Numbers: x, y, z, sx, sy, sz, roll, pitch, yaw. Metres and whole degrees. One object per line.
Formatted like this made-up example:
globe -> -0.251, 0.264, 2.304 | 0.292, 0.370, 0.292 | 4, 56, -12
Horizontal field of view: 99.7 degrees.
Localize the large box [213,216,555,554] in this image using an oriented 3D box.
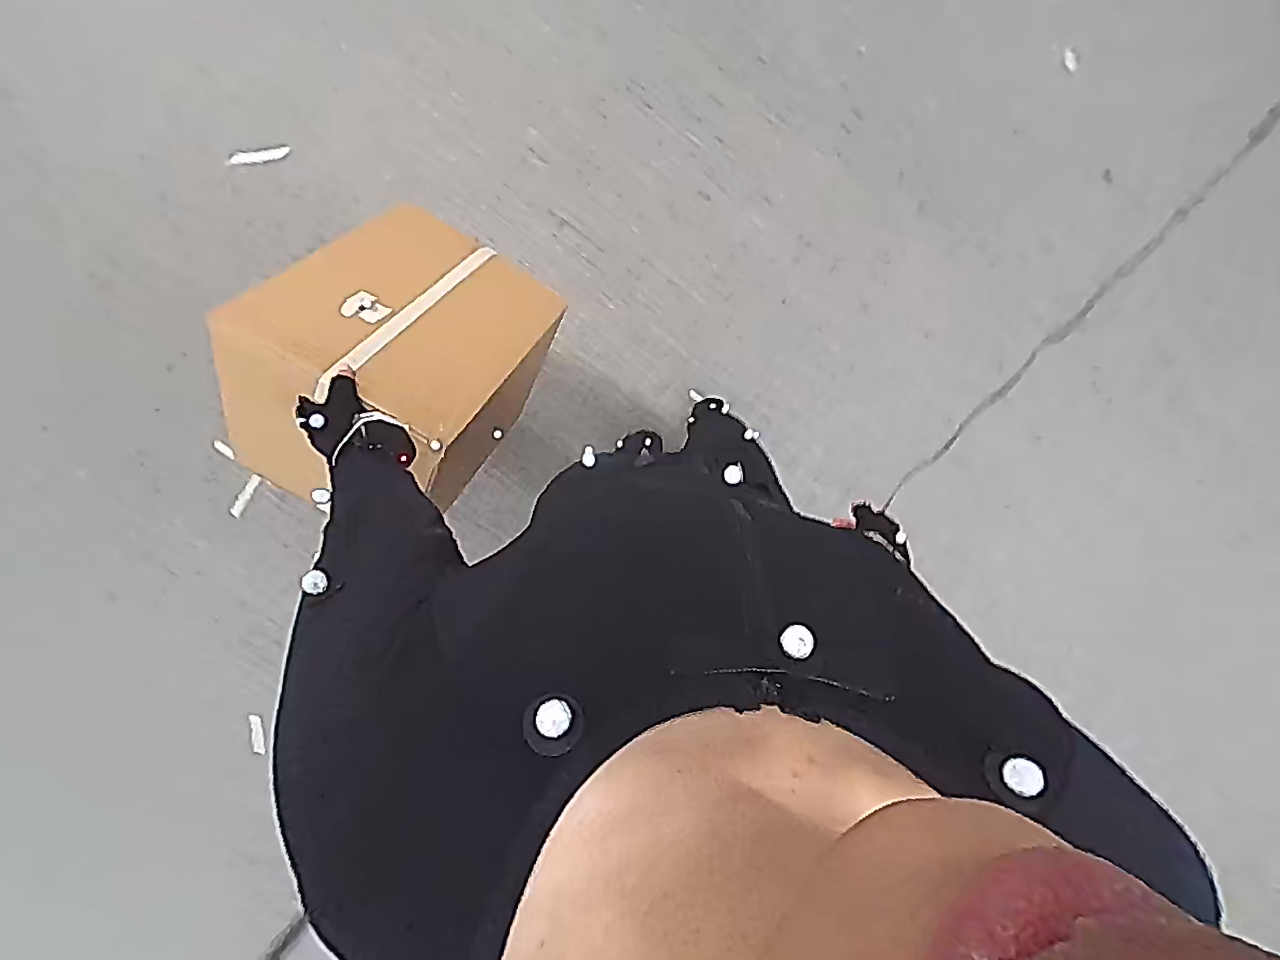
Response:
large box -> -0.397, -0.158, 0.914 | 0.320, 0.408, 0.320 | 30, 138, -7
